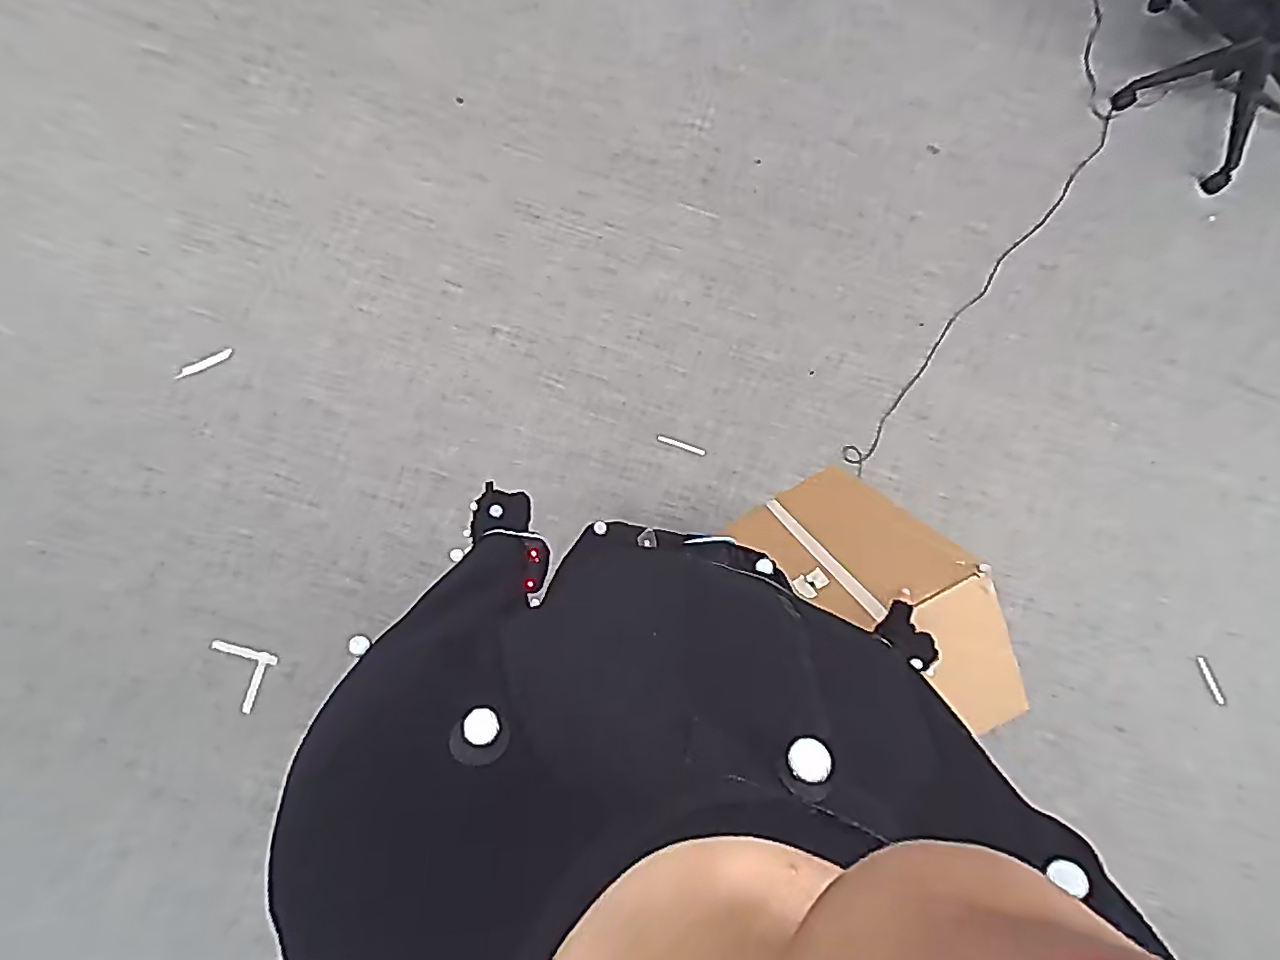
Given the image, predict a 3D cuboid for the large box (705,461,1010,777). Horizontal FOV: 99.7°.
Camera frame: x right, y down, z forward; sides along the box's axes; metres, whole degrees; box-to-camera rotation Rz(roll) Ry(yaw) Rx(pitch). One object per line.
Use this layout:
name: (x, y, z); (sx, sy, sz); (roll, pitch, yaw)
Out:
large box: (0.369, 0.227, 0.992); (0.320, 0.408, 0.320); (-31, 116, 3)
